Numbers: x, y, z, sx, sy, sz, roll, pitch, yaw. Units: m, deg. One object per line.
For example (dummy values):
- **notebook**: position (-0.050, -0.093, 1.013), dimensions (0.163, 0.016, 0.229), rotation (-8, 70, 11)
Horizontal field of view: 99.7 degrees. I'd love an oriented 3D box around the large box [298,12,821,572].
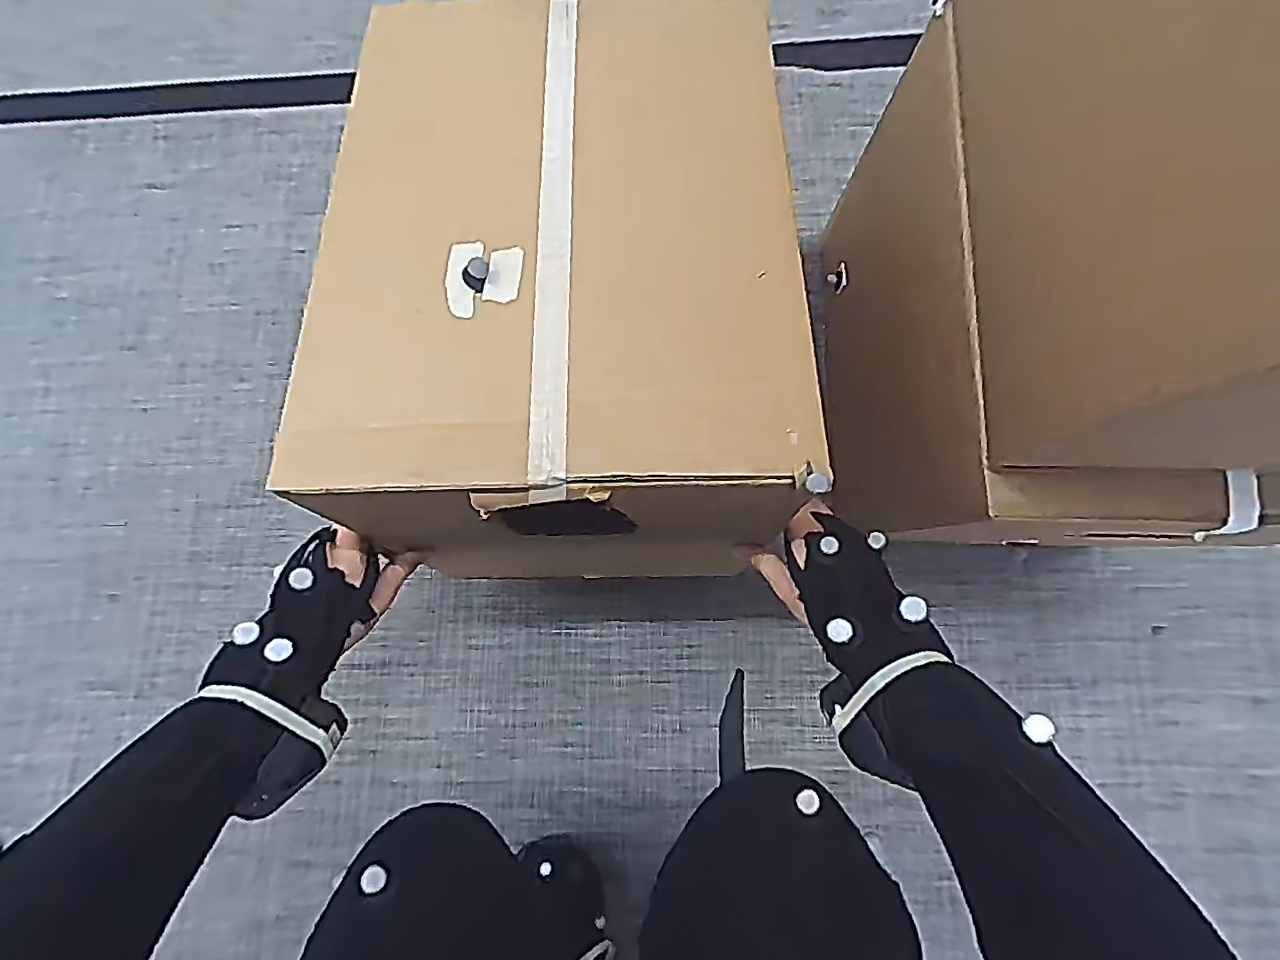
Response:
- **large box**: position (-0.055, -0.139, 0.515), dimensions (0.320, 0.320, 0.408), rotation (-3, 71, 1)
